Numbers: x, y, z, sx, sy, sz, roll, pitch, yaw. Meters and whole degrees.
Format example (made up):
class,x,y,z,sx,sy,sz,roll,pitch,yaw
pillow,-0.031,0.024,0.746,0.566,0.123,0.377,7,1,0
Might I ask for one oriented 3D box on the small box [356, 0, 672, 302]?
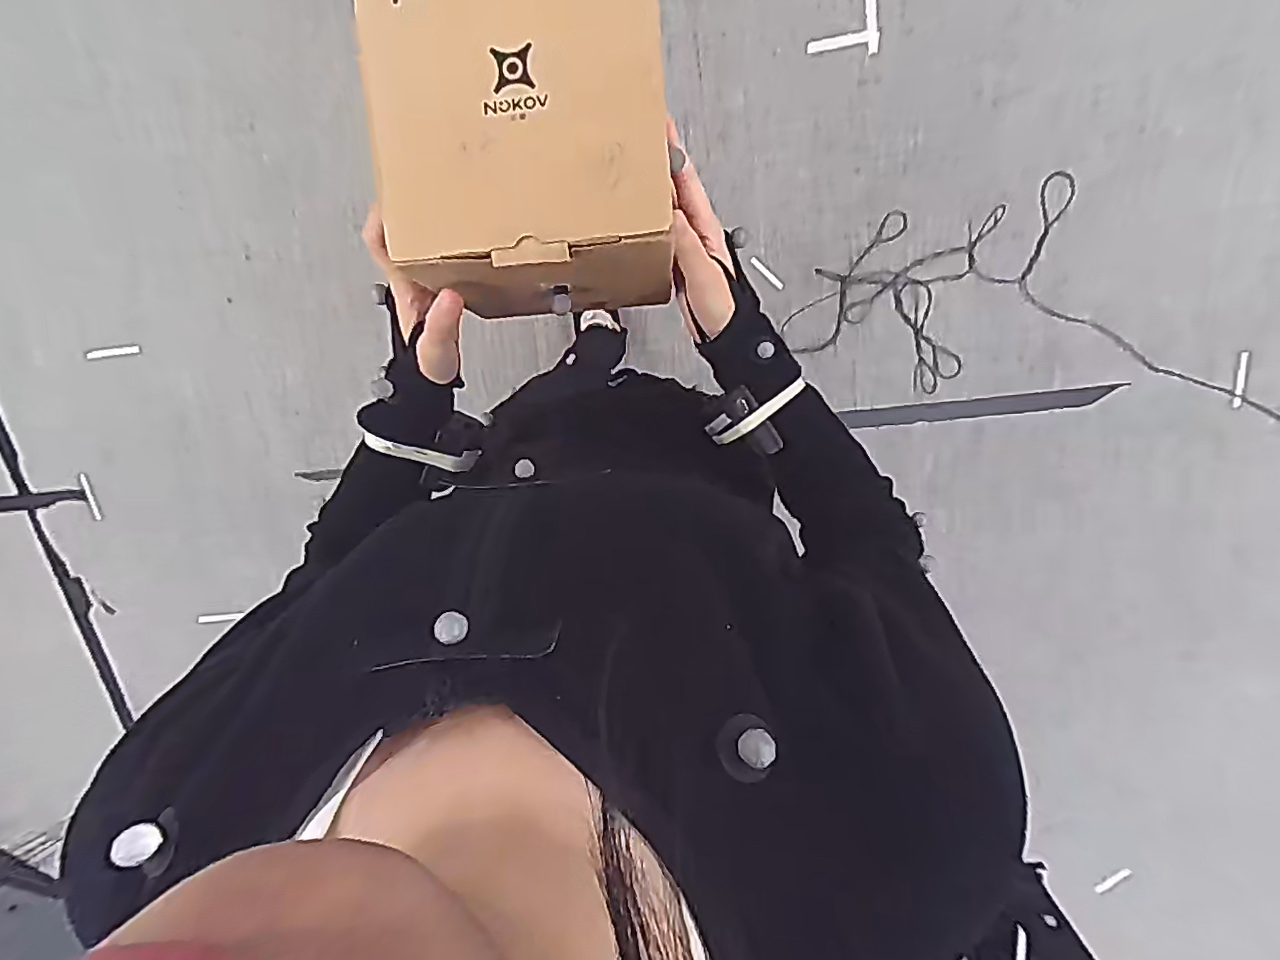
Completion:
class,x,y,z,sx,sy,sz,roll,pitch,yaw
small box,-0.064,-0.227,0.373,0.168,0.176,0.179,-4,97,3
